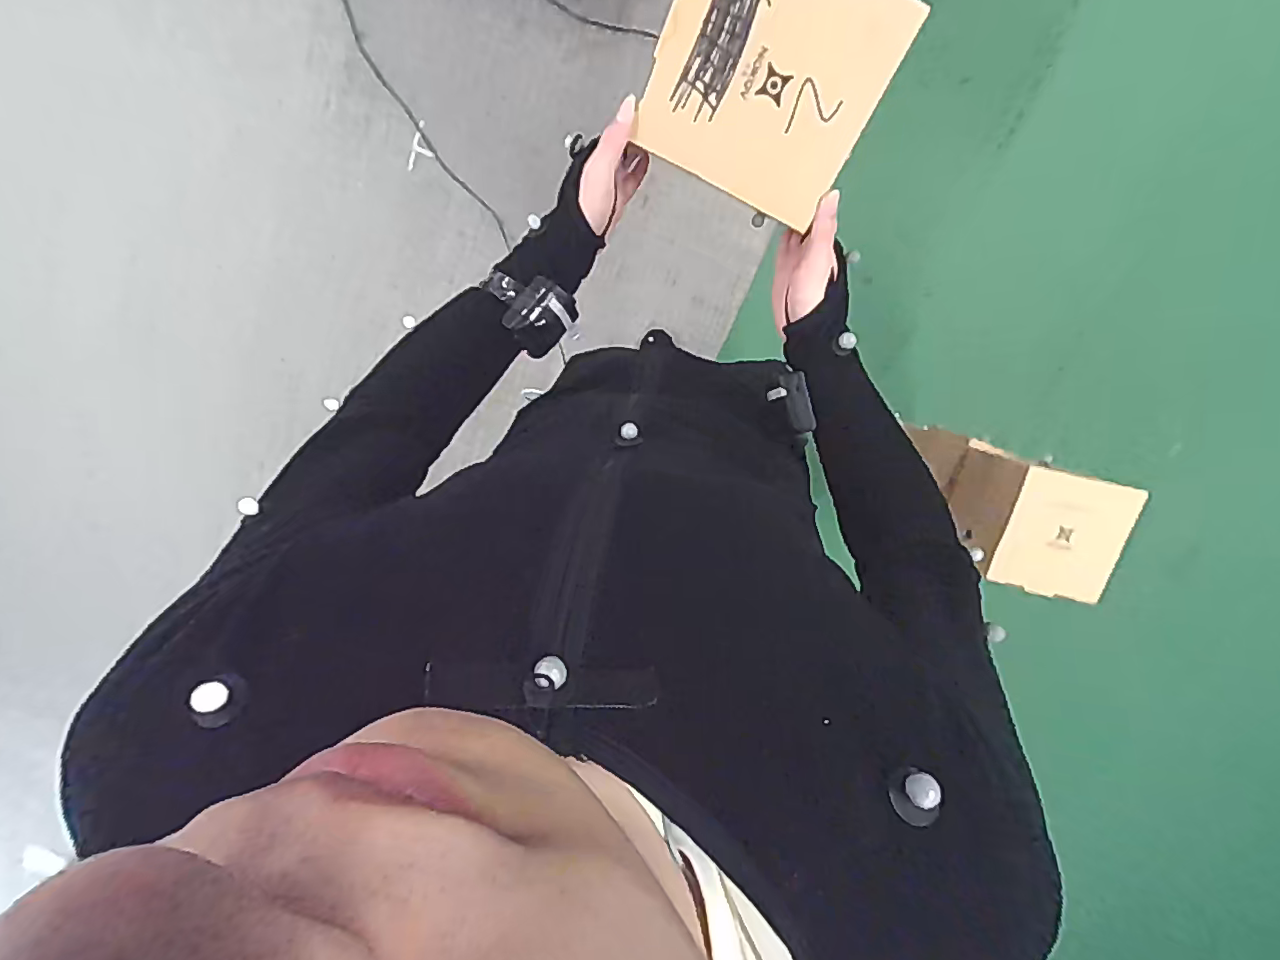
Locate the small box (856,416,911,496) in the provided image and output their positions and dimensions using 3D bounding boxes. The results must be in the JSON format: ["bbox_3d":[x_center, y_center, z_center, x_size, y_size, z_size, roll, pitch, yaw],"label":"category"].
[{"bbox_3d":[0.650,-0.041,1.316,0.168,0.176,0.179,21,105,1],"label":"small box"}]

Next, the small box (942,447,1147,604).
[{"bbox_3d":[0.603,0.061,0.839,0.168,0.176,0.179,14,104,2],"label":"small box"}]

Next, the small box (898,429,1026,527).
[{"bbox_3d":[0.611,0.013,0.996,0.179,0.176,0.168,22,105,1],"label":"small box"}]

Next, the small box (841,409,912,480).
[{"bbox_3d":[0.667,-0.081,1.472,0.168,0.176,0.179,19,105,1],"label":"small box"}]

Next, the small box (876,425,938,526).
[{"bbox_3d":[0.633,-0.008,1.157,0.168,0.176,0.179,19,105,2],"label":"small box"}]
